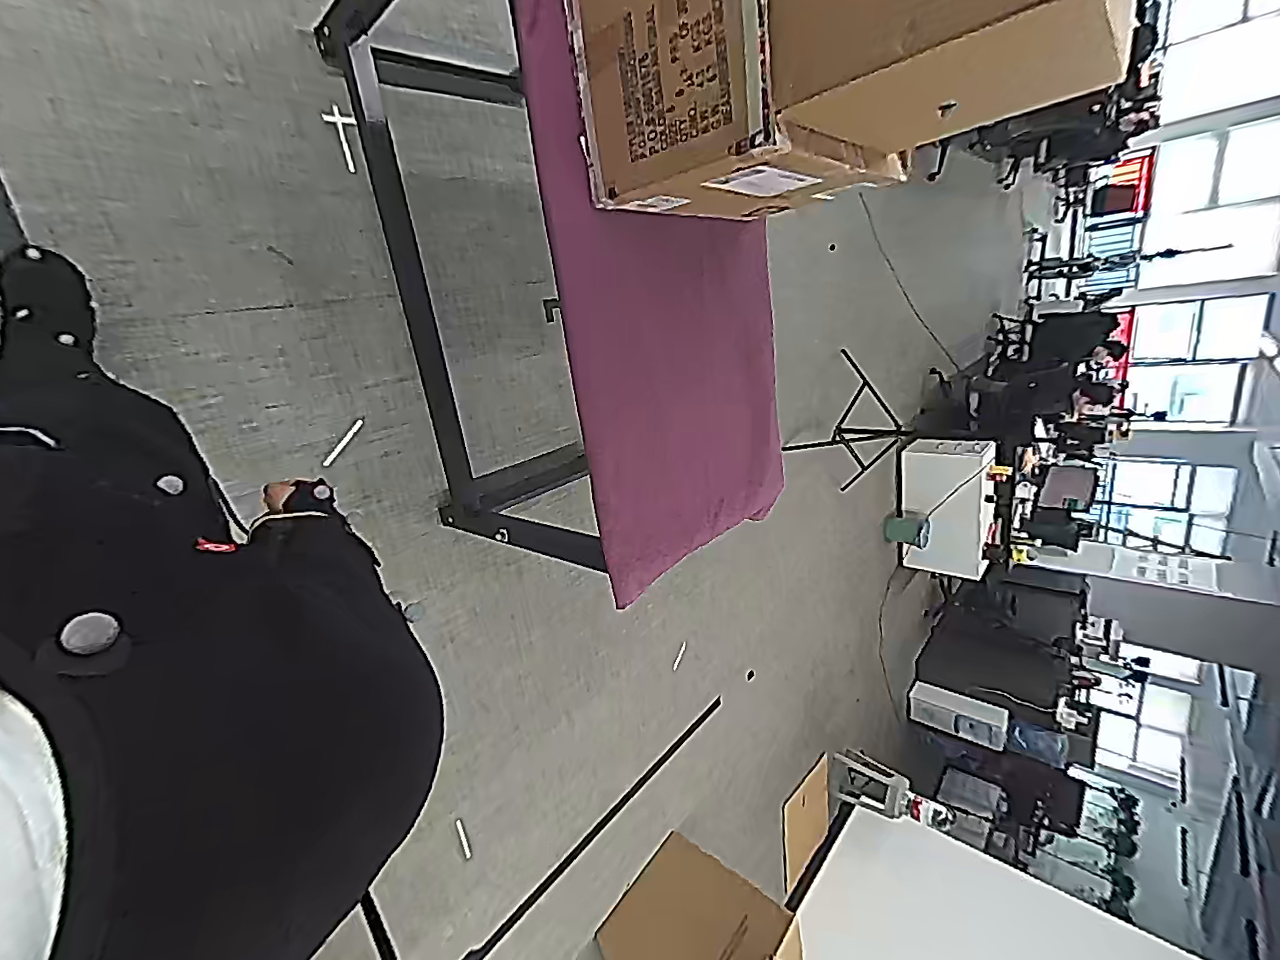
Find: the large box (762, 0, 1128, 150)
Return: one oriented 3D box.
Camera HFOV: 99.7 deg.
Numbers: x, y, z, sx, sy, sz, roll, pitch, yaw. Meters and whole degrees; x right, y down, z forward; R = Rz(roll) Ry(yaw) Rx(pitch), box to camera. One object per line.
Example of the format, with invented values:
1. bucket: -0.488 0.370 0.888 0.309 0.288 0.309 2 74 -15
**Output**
1. large box: 0.381 -0.629 0.655 0.408 0.320 0.320 -25 112 -43
